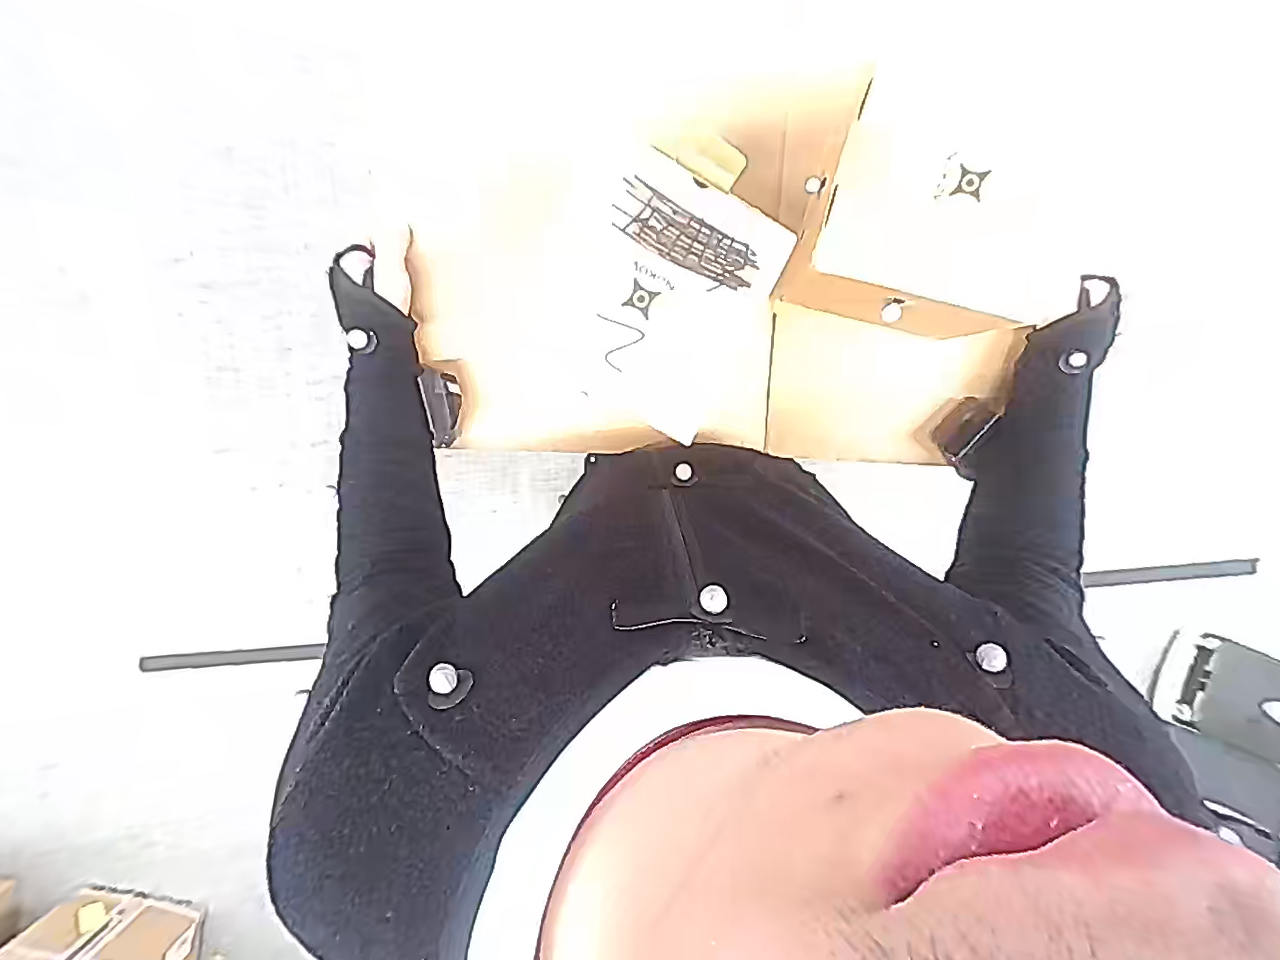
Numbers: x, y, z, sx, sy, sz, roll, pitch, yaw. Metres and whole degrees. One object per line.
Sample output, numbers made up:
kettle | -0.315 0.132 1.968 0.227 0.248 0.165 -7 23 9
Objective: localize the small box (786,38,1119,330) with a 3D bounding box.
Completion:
small box | 0.247 -0.237 0.482 0.179 0.176 0.168 16 102 5
